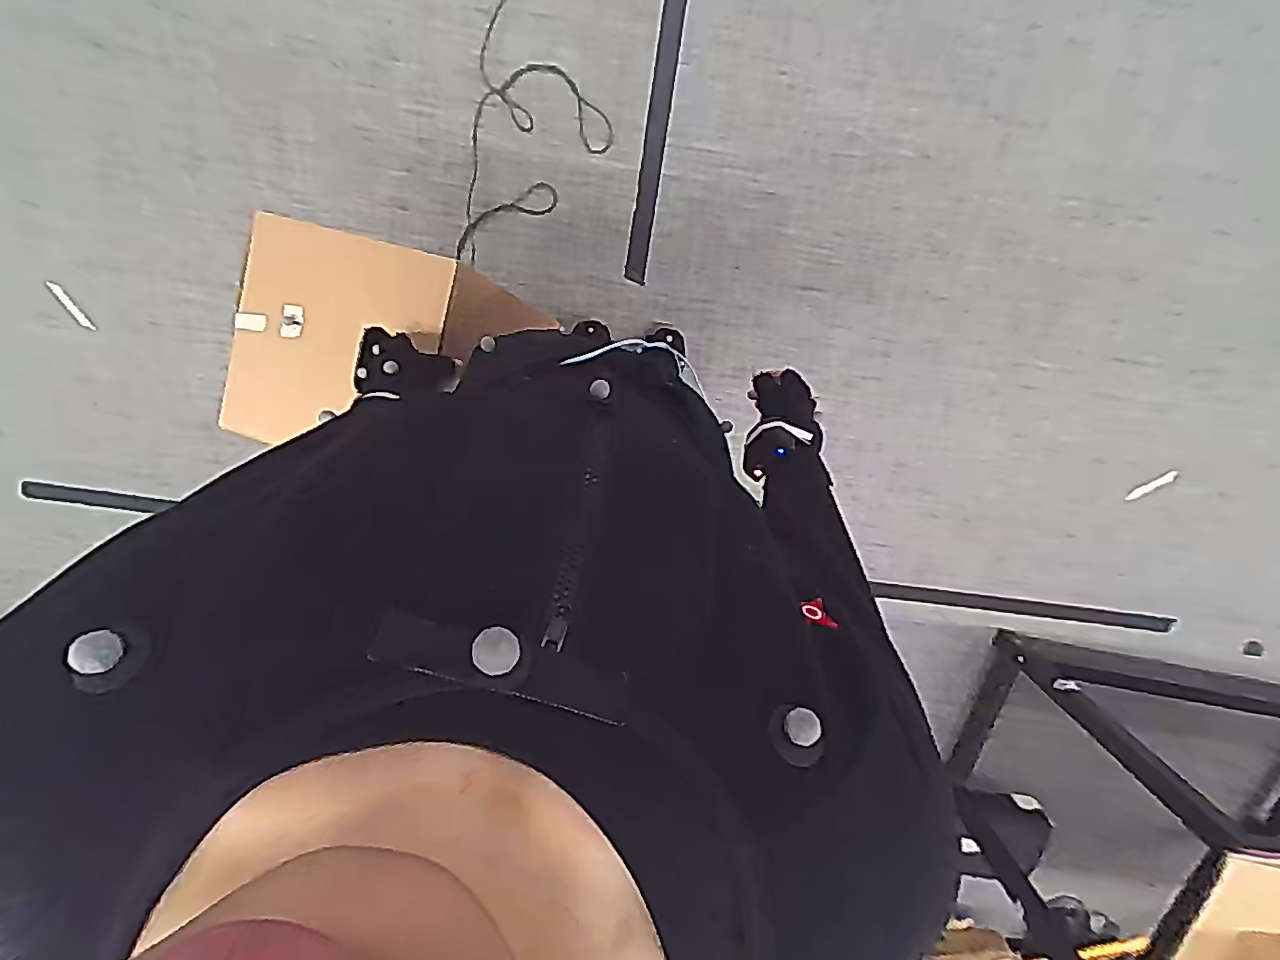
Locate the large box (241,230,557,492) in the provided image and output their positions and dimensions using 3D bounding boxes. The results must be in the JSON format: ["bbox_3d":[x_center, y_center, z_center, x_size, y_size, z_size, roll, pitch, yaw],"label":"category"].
[{"bbox_3d":[-0.381,-0.188,0.943,0.320,0.408,0.320,17,97,8],"label":"large box"}]
